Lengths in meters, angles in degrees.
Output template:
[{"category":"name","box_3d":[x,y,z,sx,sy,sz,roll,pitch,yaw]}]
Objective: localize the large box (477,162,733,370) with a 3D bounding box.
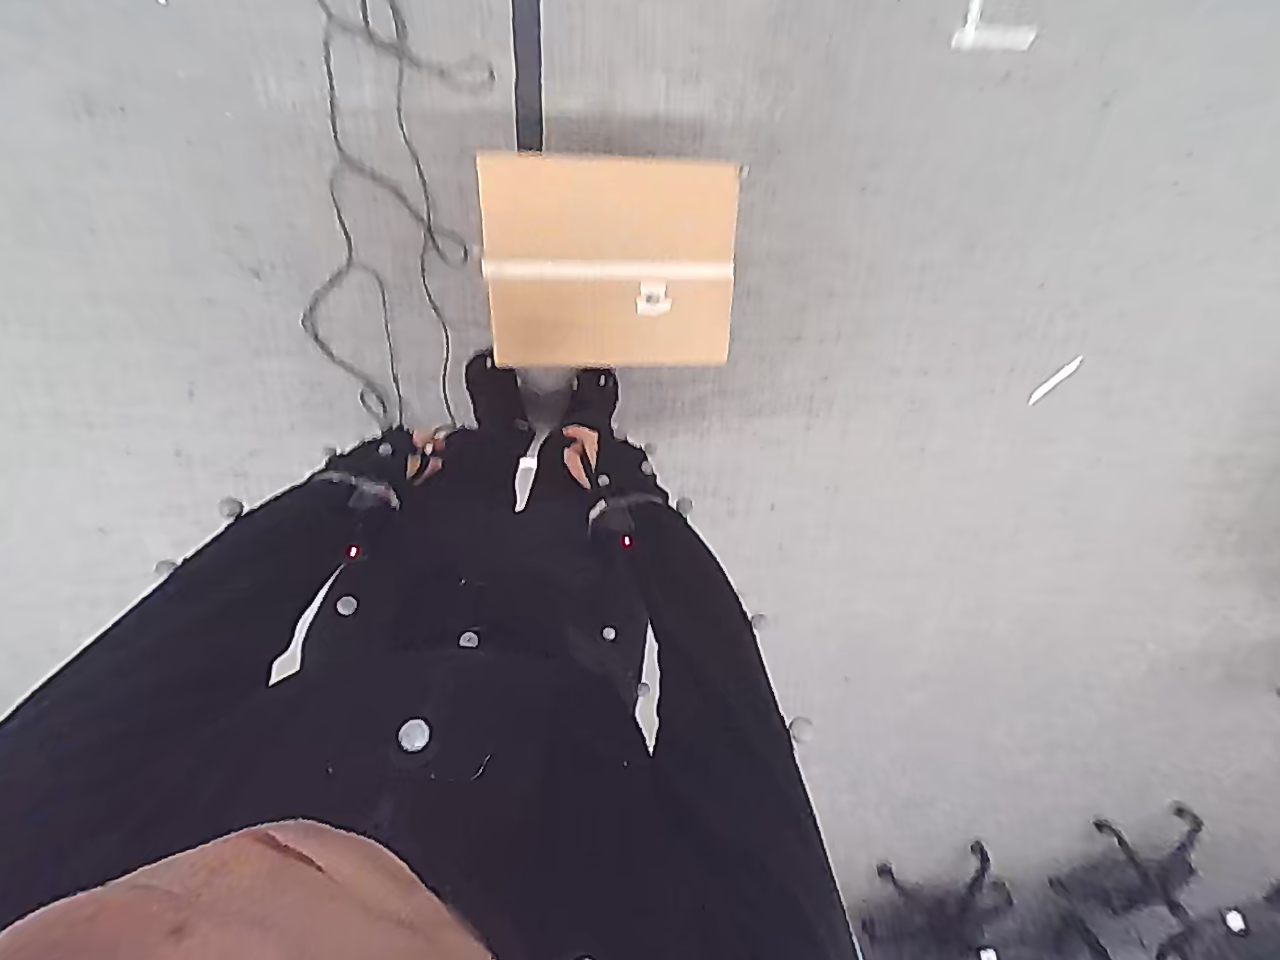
[{"category":"large box","box_3d":[-0.071,-0.397,1.025,0.408,0.320,0.320,-3,113,-8]}]
